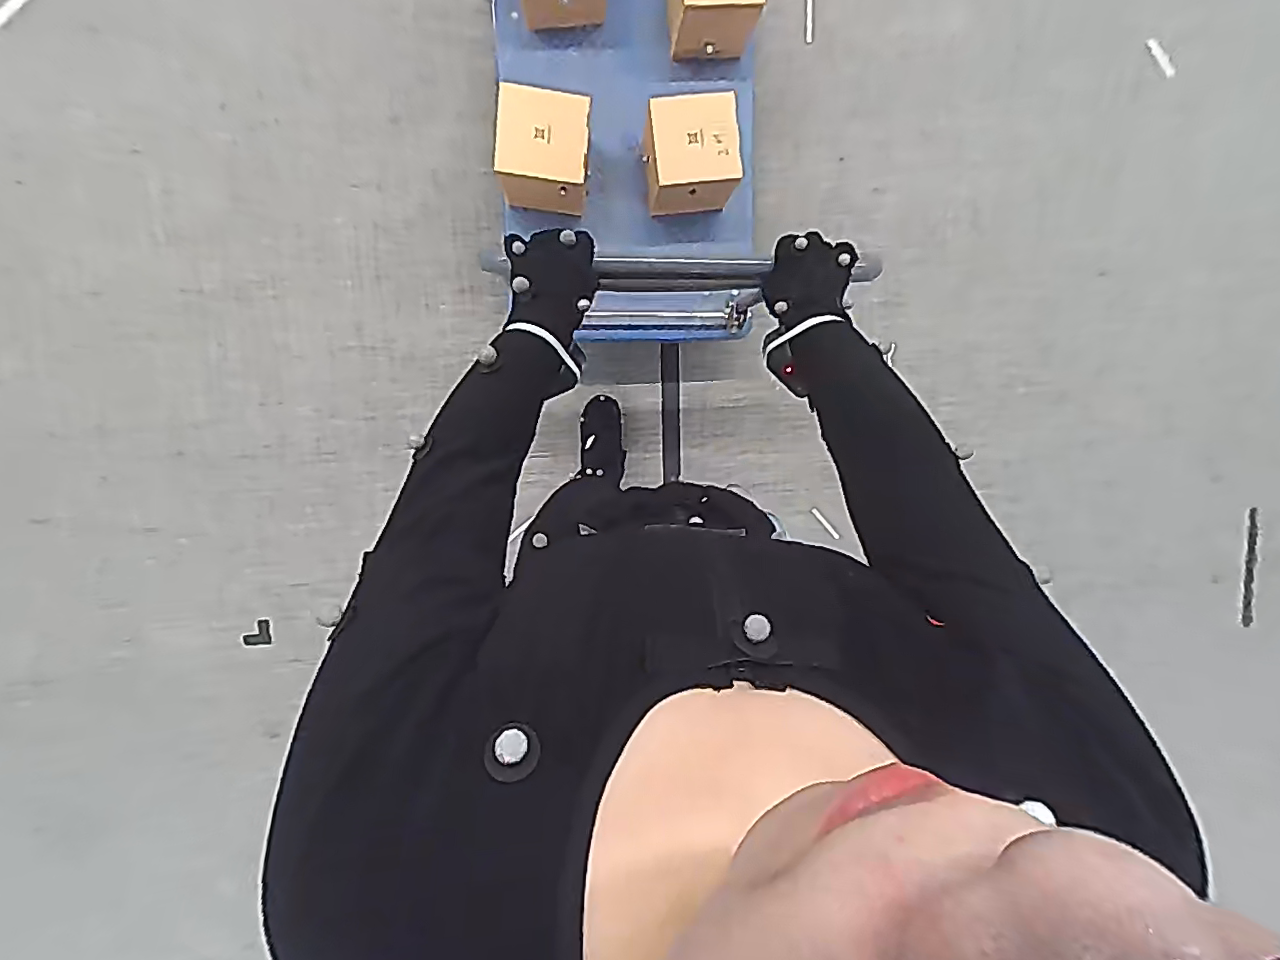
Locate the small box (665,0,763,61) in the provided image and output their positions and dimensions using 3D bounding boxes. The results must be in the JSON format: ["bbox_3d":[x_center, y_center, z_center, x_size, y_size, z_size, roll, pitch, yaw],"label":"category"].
[{"bbox_3d":[0.145,-1.014,1.118,0.168,0.176,0.179,-6,98,-5],"label":"small box"}]

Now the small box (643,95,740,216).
[{"bbox_3d":[0.101,-0.681,1.154,0.179,0.176,0.168,-8,98,-4],"label":"small box"}]

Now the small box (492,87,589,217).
[{"bbox_3d":[-0.201,-0.670,1.125,0.179,0.176,0.168,4,96,-7],"label":"small box"}]
